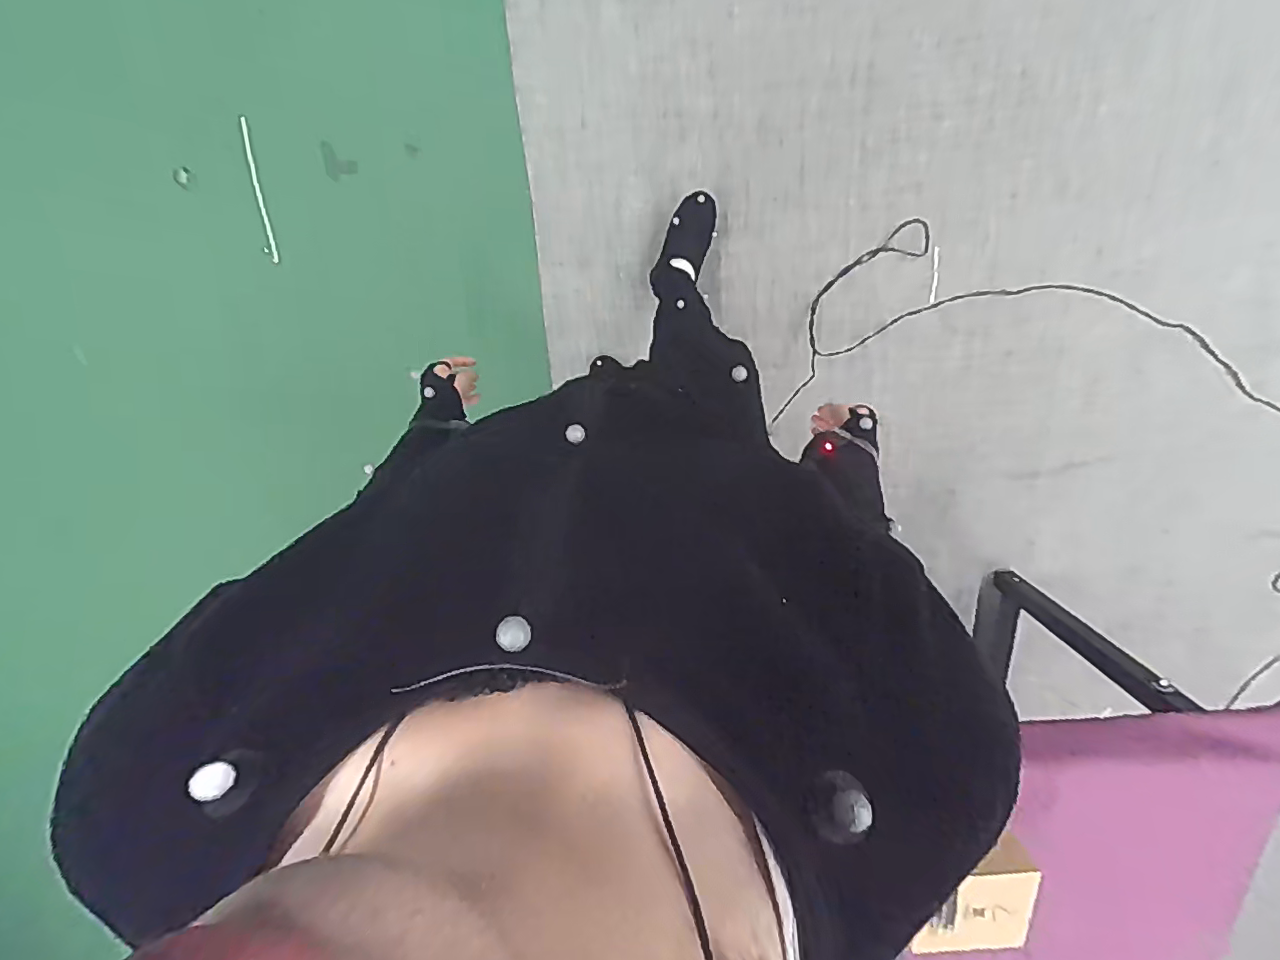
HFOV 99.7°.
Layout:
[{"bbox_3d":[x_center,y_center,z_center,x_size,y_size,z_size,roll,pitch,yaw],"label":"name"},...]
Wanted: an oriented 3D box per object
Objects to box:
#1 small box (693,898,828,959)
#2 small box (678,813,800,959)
[{"bbox_3d":[0.162,0.698,0.706,0.168,0.176,0.179,4,107,-1],"label":"small box"},{"bbox_3d":[0.150,0.669,0.868,0.179,0.176,0.168,-3,108,2],"label":"small box"}]
